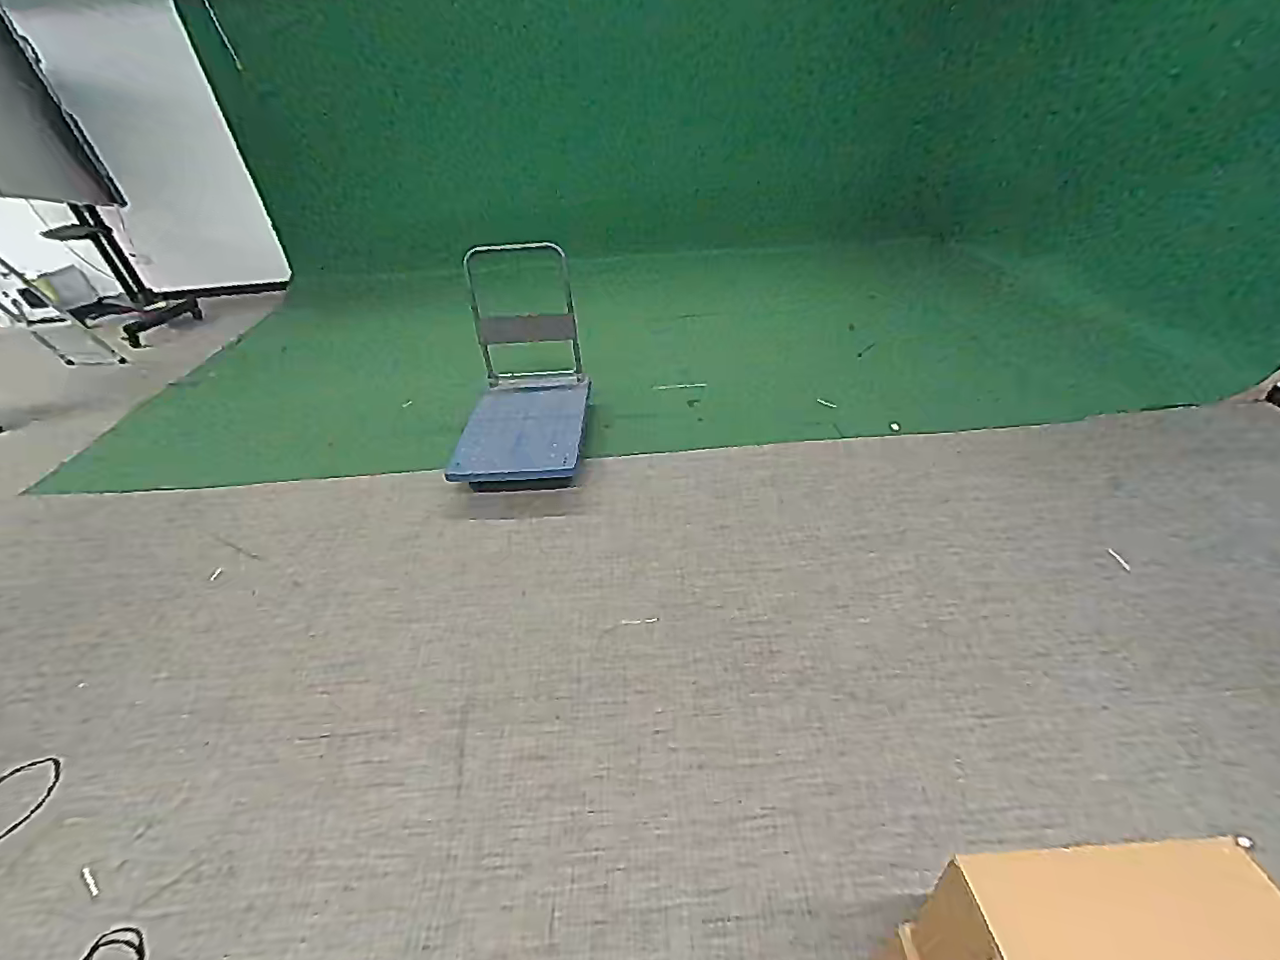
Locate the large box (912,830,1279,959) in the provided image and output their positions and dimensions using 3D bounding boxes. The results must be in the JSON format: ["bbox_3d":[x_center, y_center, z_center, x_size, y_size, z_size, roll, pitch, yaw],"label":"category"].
[{"bbox_3d":[0.660,0.727,0.731,0.408,0.320,0.320,-4,34,0],"label":"large box"}]
